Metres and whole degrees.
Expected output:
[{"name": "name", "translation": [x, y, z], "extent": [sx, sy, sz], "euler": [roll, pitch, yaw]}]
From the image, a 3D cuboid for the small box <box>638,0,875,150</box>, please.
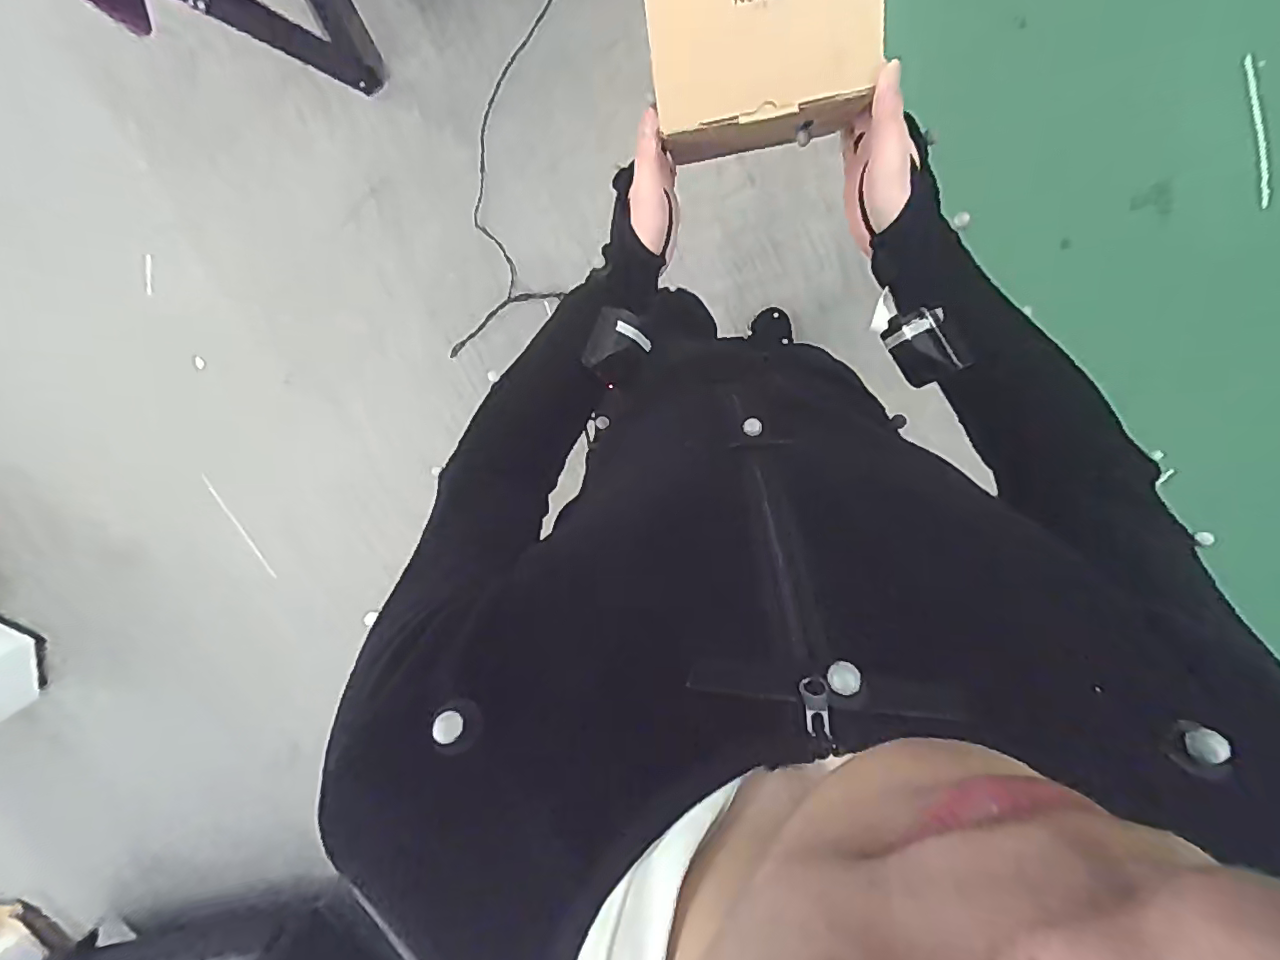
[{"name": "small box", "translation": [0.089, -0.390, 0.446], "extent": [0.168, 0.176, 0.179], "euler": [-5, 112, 10]}]
